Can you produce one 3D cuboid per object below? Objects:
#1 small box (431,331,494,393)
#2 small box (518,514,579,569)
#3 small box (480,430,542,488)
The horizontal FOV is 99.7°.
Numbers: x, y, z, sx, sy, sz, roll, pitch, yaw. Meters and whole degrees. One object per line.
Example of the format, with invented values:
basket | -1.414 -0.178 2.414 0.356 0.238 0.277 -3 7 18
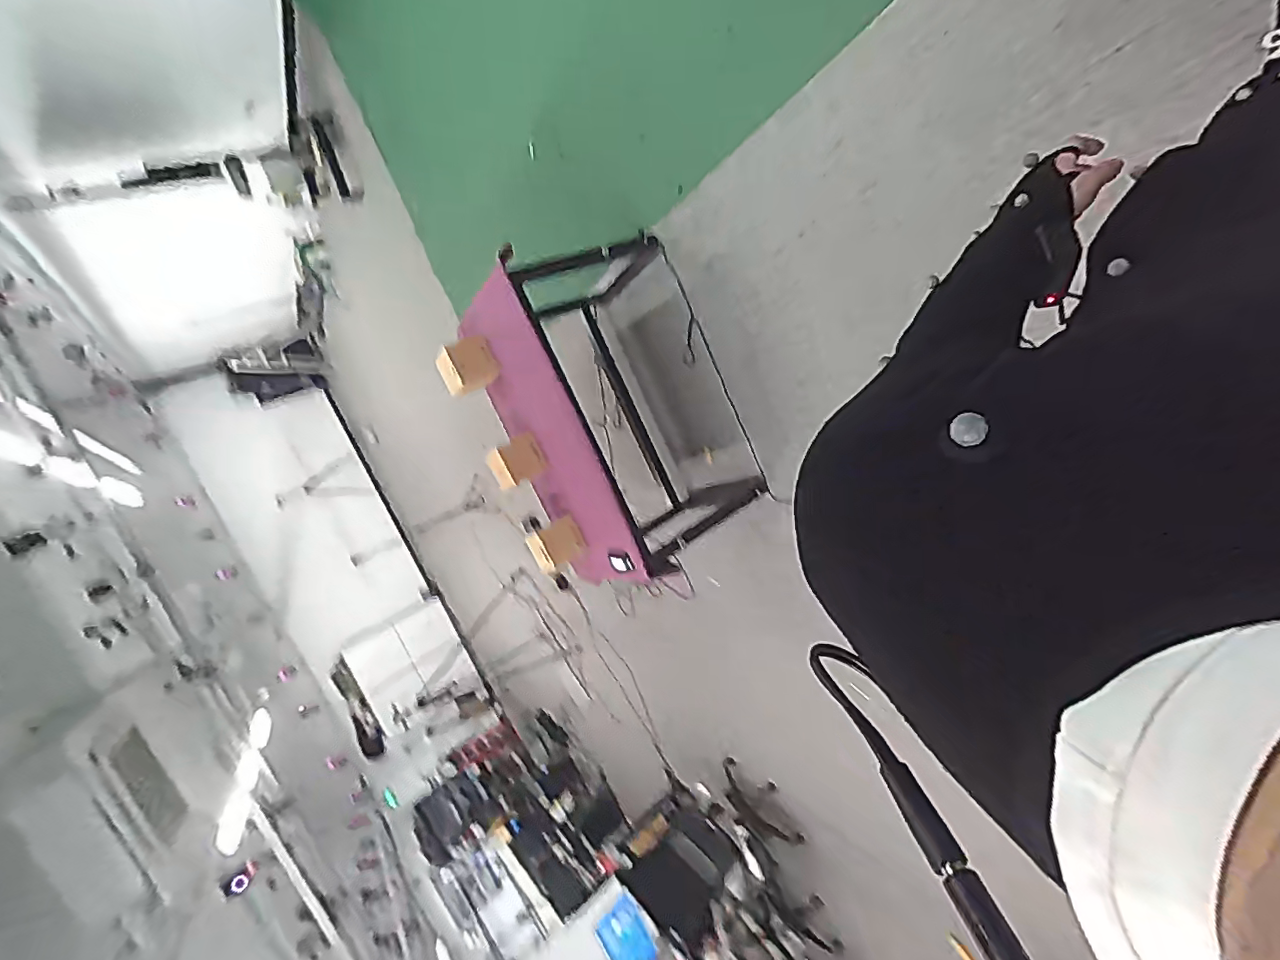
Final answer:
small box | -0.705 -0.470 2.154 0.179 0.176 0.168 -18 100 58
small box | -0.374 0.253 2.238 0.179 0.176 0.168 -21 96 58
small box | -0.521 -0.084 2.192 0.179 0.176 0.168 -21 98 57
